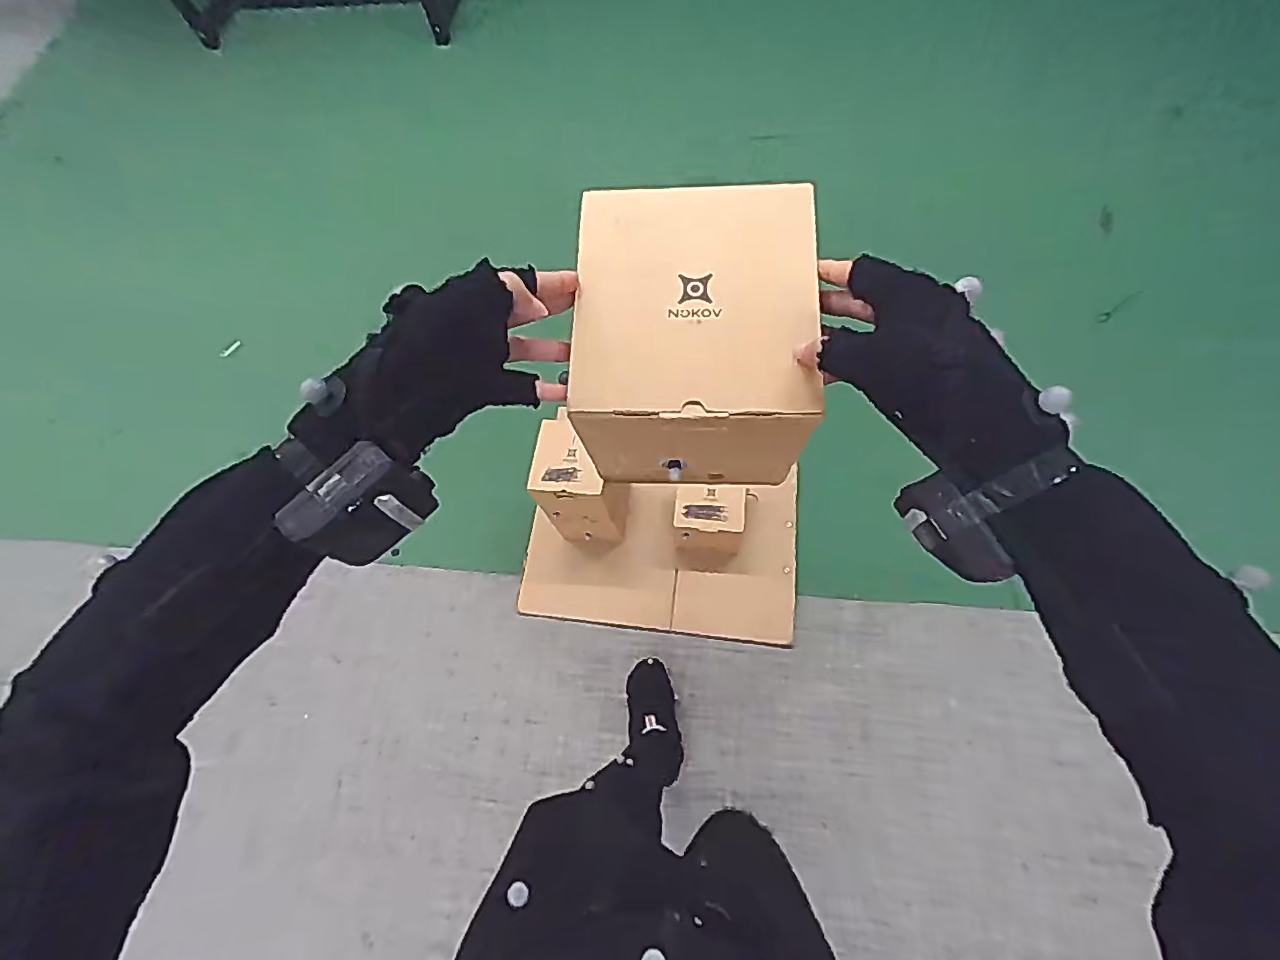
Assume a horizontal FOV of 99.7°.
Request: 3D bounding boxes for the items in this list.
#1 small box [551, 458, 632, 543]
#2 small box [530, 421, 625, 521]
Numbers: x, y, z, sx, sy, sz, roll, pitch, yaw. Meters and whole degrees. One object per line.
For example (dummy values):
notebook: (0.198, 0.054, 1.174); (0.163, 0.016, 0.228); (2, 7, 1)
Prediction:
small box: (-0.117, 0.050, 1.390); (0.168, 0.176, 0.179); (3, 67, 8)
small box: (-0.134, -0.016, 1.241); (0.168, 0.176, 0.179); (5, 66, 9)
